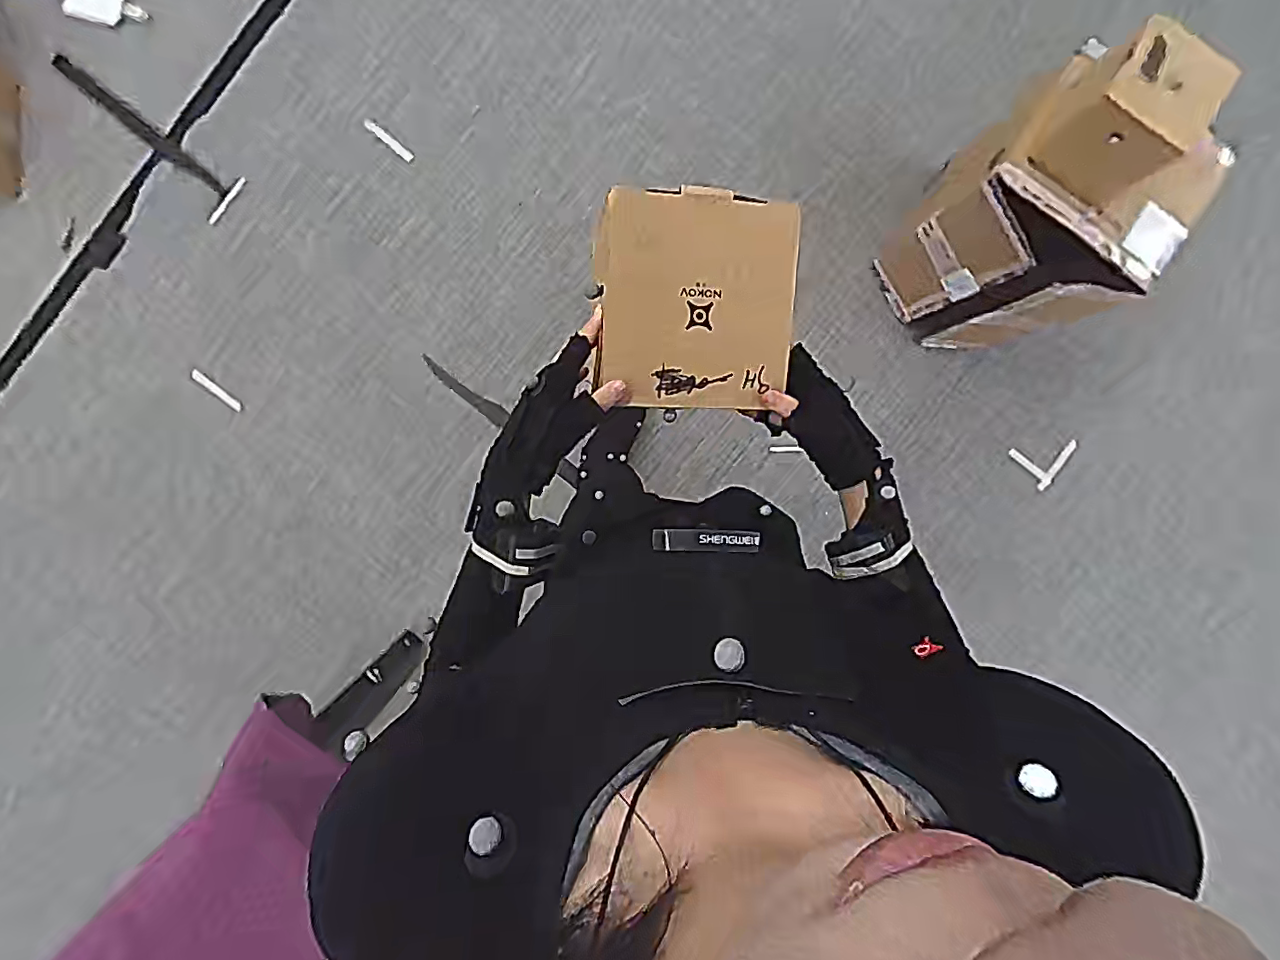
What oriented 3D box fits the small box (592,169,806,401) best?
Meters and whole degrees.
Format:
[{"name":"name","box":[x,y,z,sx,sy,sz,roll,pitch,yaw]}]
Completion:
[{"name":"small box","box":[0.042,-0.171,0.528,0.168,0.176,0.179,1,101,-9]}]

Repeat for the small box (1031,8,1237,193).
[{"name":"small box","box":[0.847,-0.647,0.948,0.179,0.176,0.168,32,90,-4]}]
